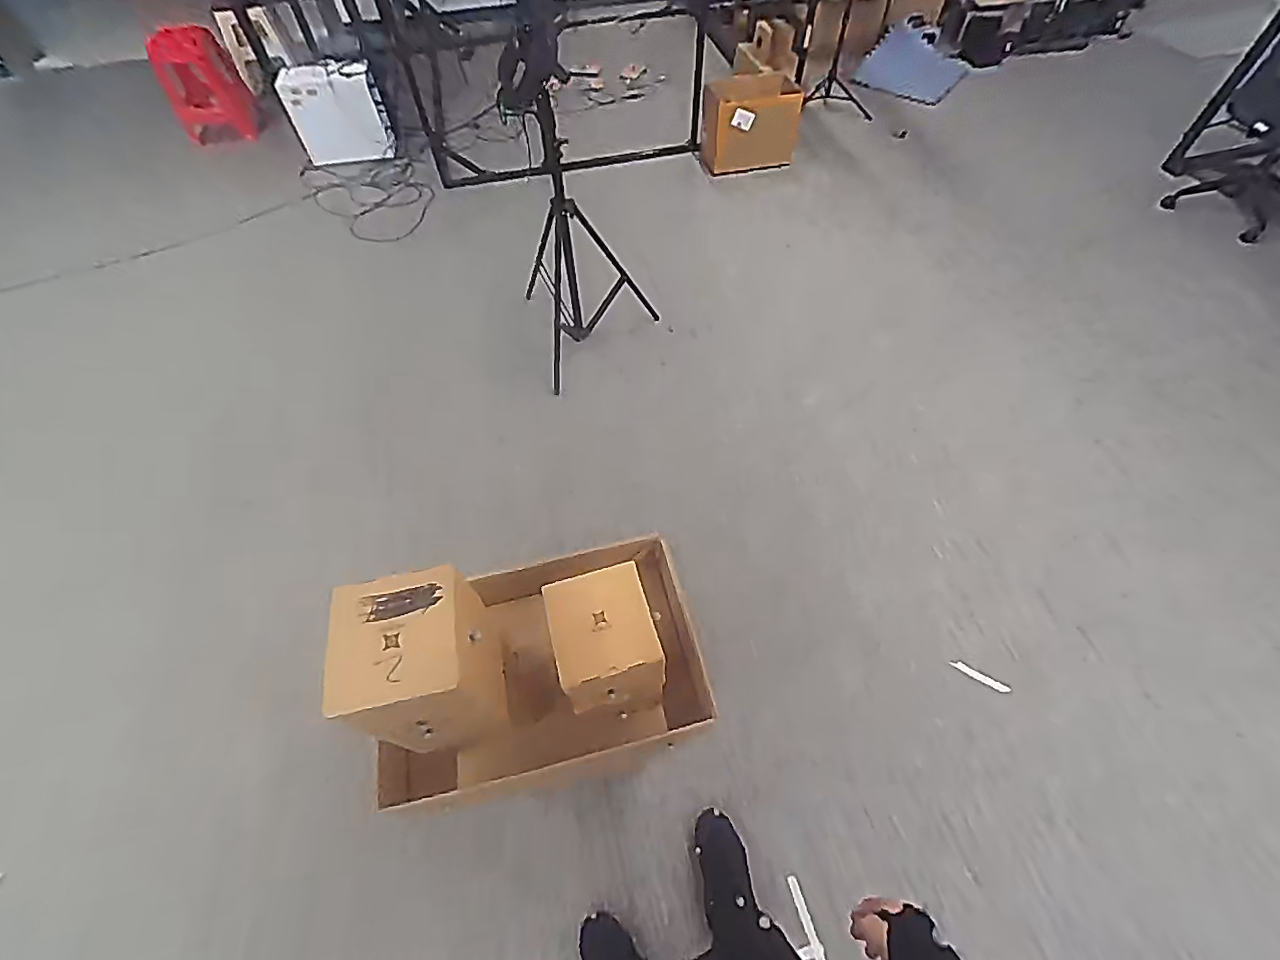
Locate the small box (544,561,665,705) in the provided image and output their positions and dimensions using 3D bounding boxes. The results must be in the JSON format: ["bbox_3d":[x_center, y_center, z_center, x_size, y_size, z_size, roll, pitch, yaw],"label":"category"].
[{"bbox_3d":[-0.061,0.270,0.944,0.168,0.176,0.179,-15,58,-7],"label":"small box"}]

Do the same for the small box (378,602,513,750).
[{"bbox_3d":[-0.319,0.334,0.912,0.168,0.176,0.179,-13,56,-5],"label":"small box"}]
